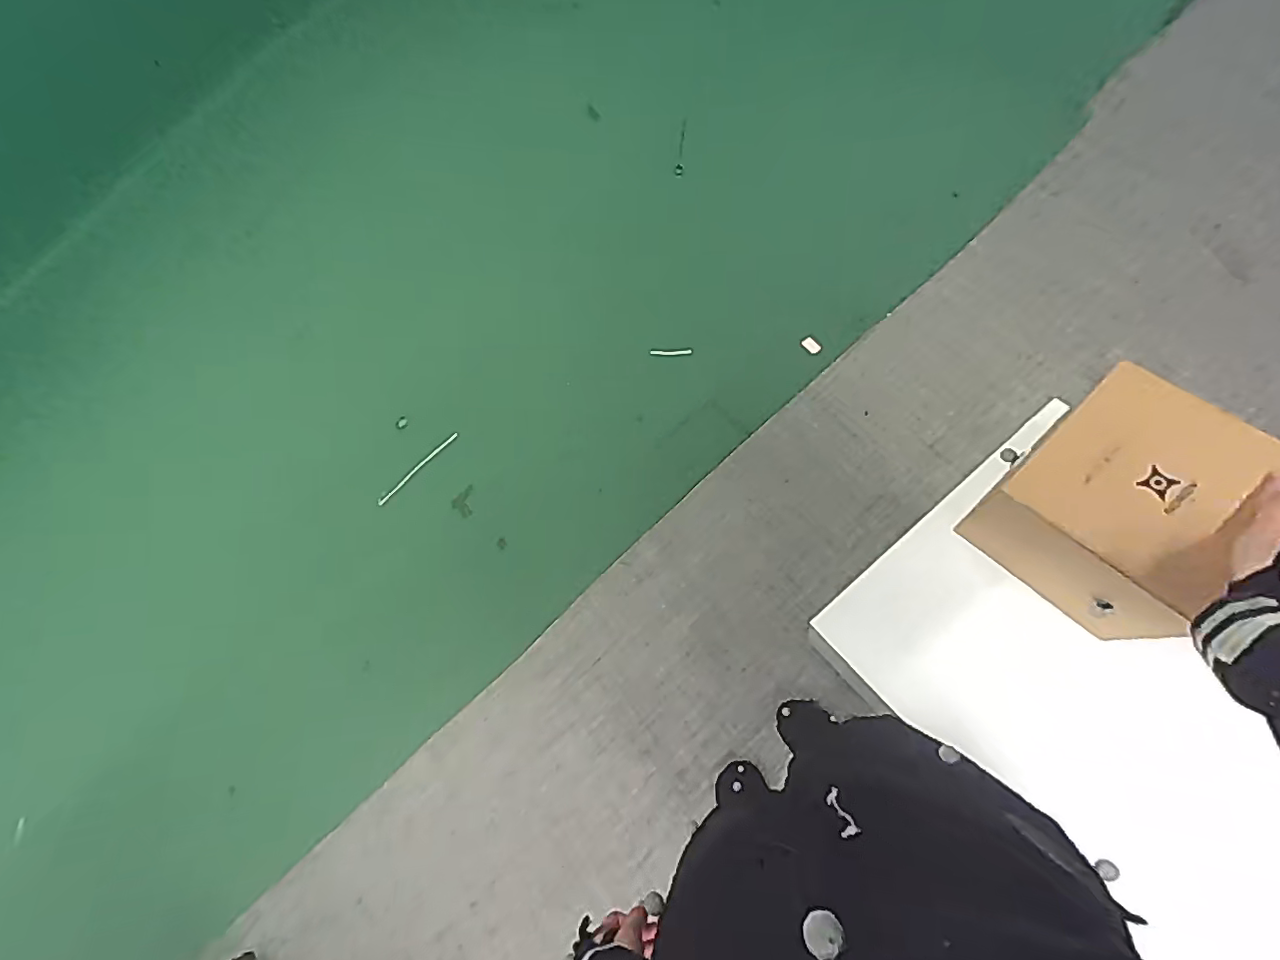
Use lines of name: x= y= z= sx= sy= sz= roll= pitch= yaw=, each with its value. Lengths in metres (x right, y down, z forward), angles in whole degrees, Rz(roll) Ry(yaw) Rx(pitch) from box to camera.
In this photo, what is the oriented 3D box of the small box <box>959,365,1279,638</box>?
small box: x=0.452 y=0.031 z=0.518 sx=0.168 sy=0.176 sz=0.179 roll=-46 pitch=65 yaw=-3
